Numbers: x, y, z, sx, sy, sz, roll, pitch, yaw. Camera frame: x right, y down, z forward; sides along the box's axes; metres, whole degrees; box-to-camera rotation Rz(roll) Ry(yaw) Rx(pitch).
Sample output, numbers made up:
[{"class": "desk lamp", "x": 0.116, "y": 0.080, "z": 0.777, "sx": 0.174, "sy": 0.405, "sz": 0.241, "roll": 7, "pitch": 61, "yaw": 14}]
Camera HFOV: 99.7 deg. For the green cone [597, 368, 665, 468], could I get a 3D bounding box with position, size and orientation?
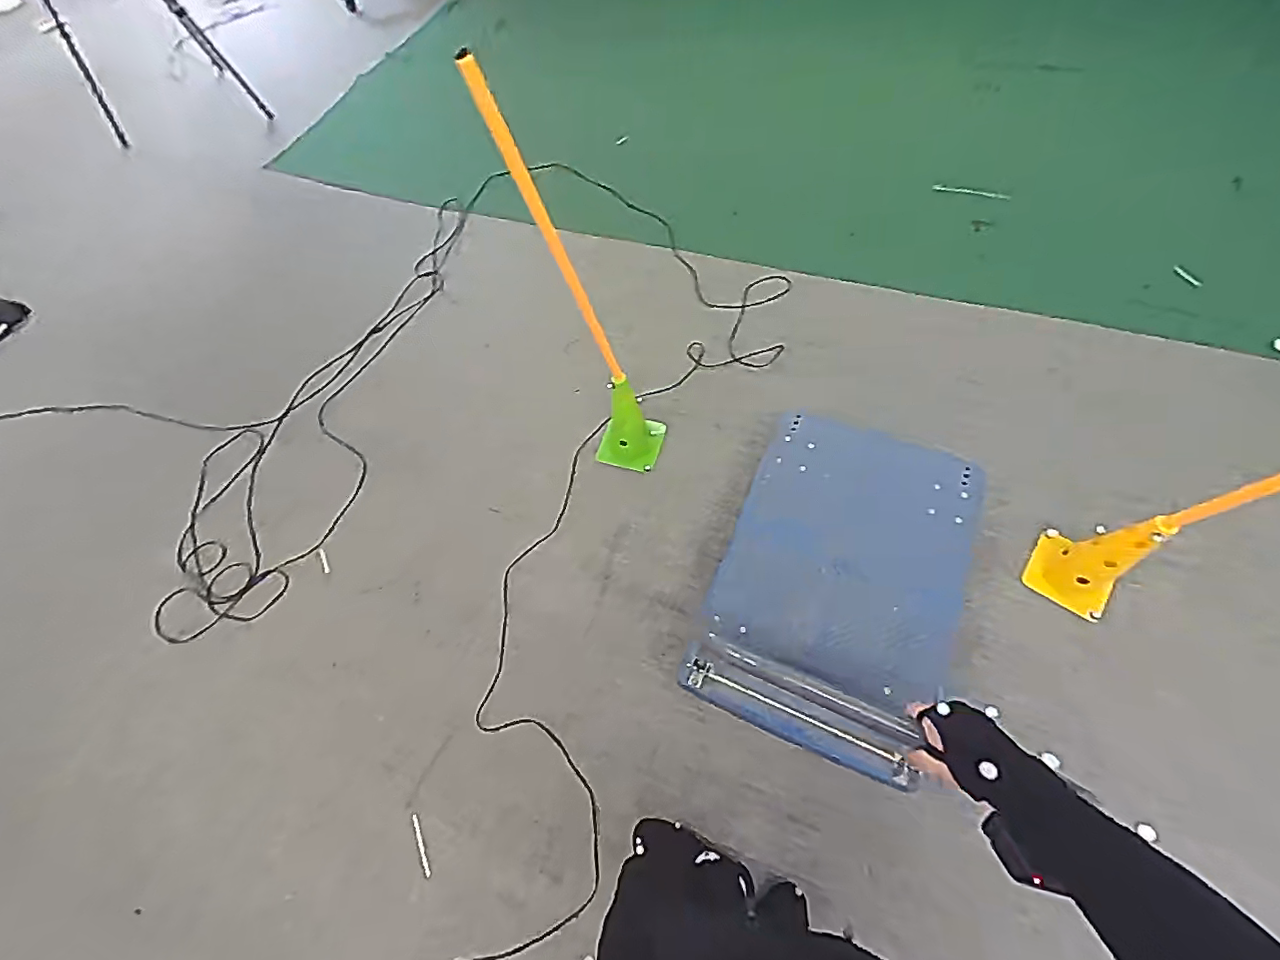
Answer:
[{"class": "green cone", "x": -0.050, "y": -0.220, "z": 1.681, "sx": 0.202, "sy": 0.368, "sz": 0.200, "roll": 12, "pitch": 64, "yaw": 14}]
